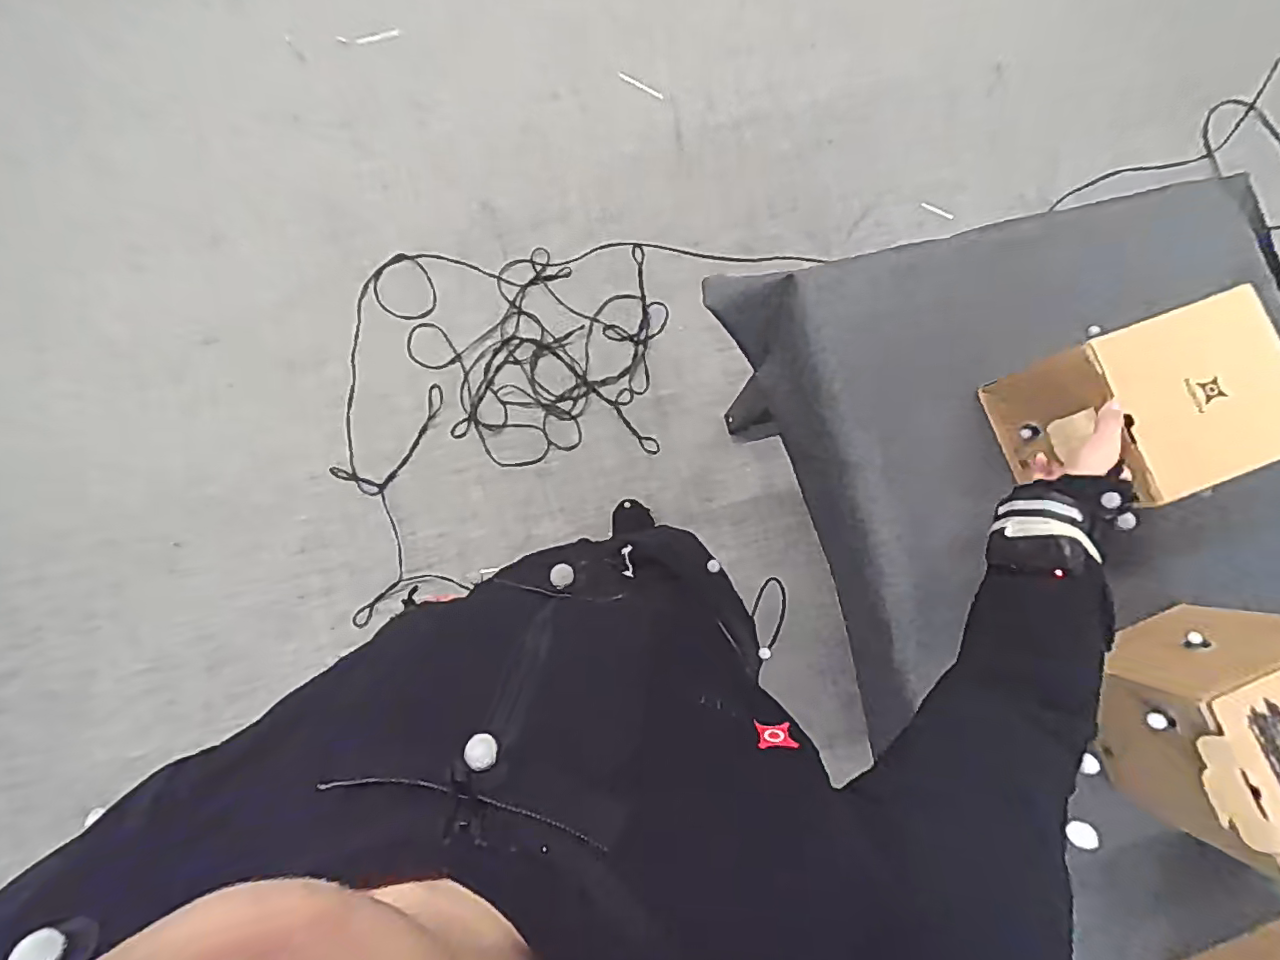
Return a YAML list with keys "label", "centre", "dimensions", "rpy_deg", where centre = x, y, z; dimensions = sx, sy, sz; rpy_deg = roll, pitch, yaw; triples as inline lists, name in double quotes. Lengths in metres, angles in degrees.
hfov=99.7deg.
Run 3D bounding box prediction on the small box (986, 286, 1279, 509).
- label: "small box"
  centre: [0.526, -0.074, 0.579]
  dimensions: [0.179, 0.176, 0.168]
  rpy_deg: [-20, 85, -3]
